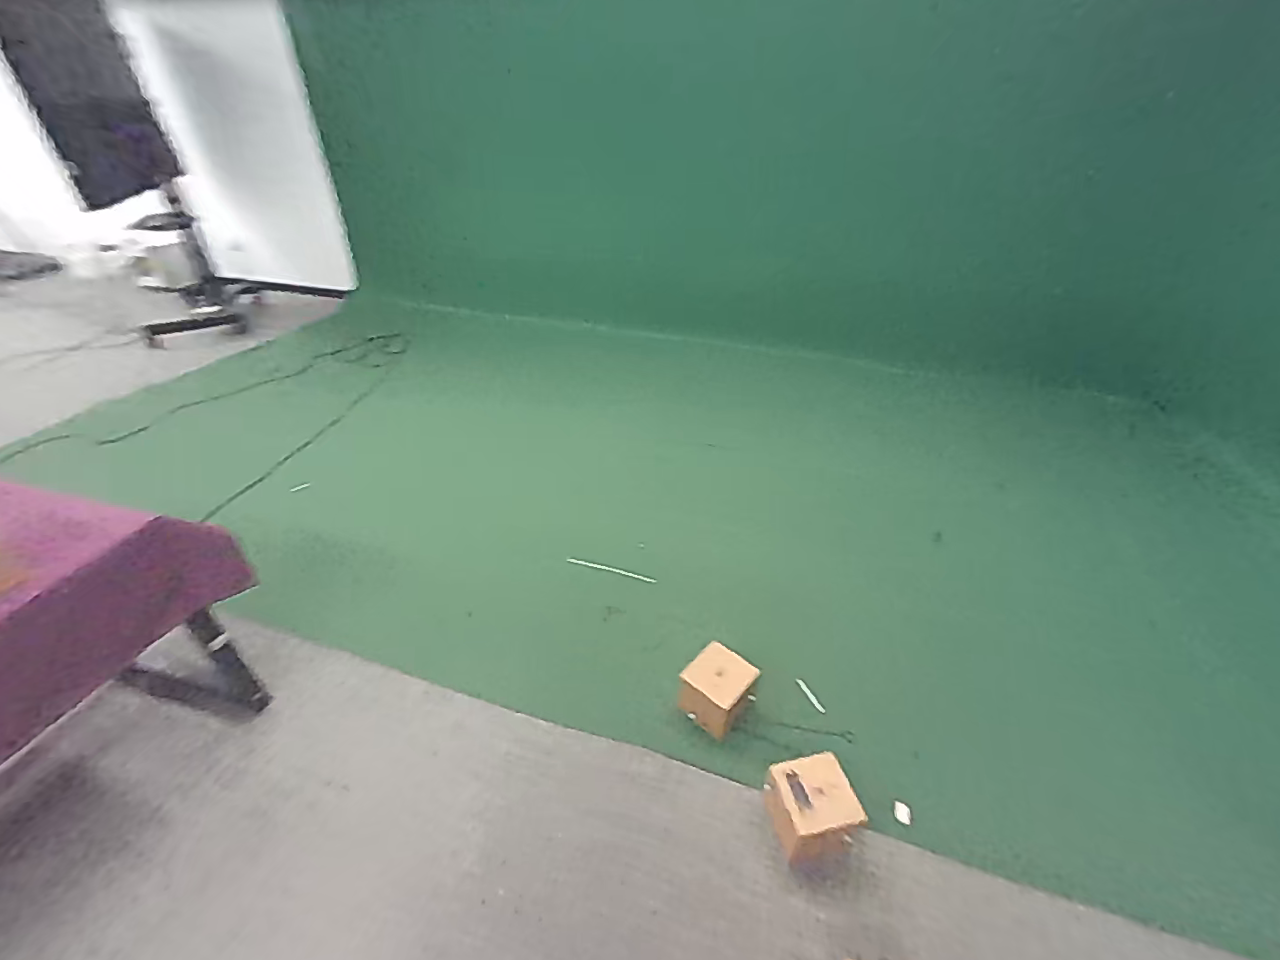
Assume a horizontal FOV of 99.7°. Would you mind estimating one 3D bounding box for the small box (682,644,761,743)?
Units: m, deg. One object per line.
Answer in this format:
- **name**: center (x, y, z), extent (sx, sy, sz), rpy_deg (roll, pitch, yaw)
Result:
- **small box**: center (0.236, 0.639, 1.617), extent (0.168, 0.176, 0.179), rpy_deg (28, 43, 34)
